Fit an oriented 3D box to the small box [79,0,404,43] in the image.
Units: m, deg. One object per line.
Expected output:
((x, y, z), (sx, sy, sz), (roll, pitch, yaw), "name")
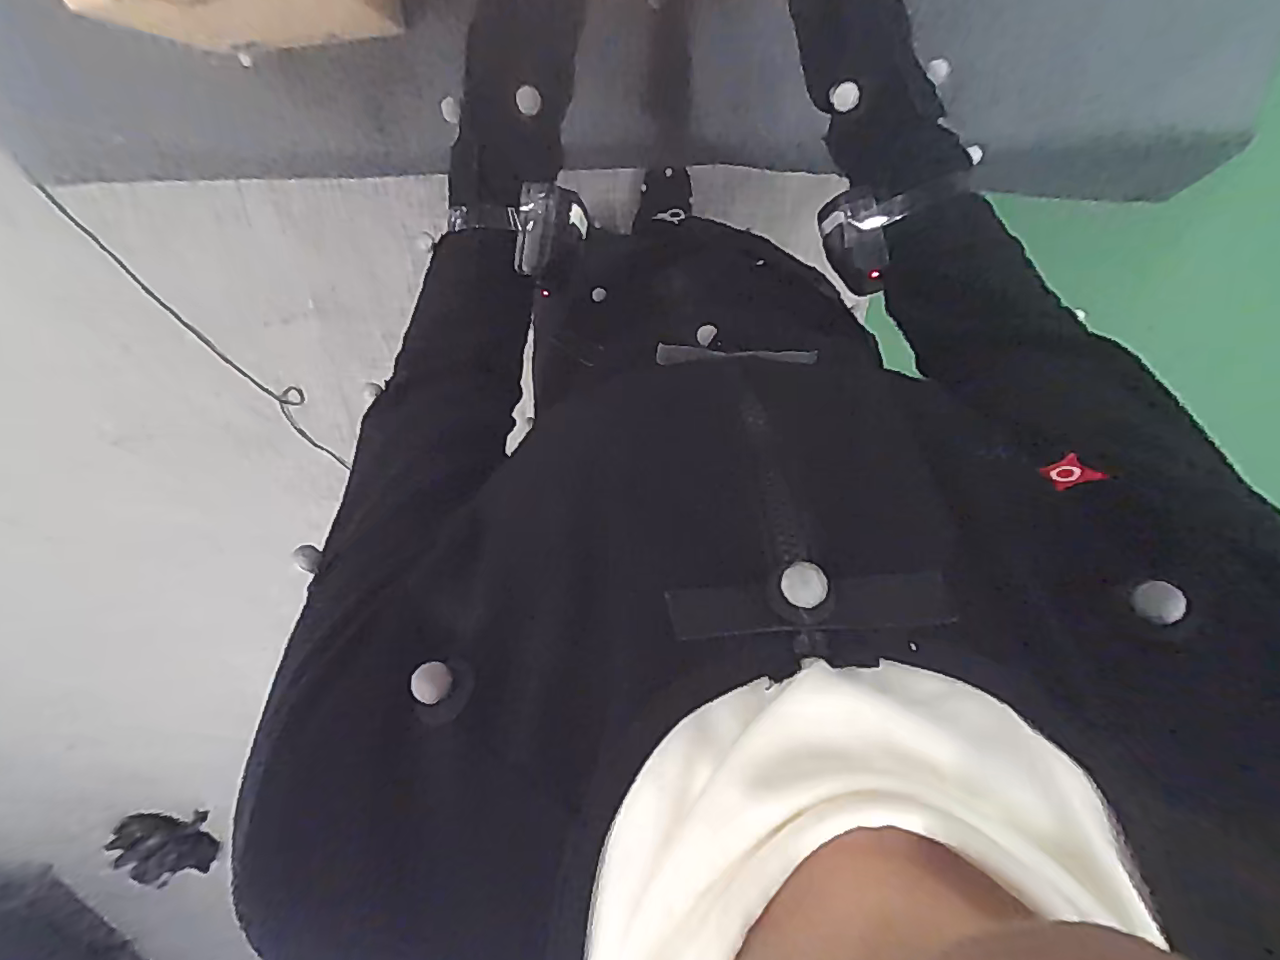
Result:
((-0.287, -0.423, 0.367), (0.168, 0.176, 0.179), (-6, 119, 1), "small box")
